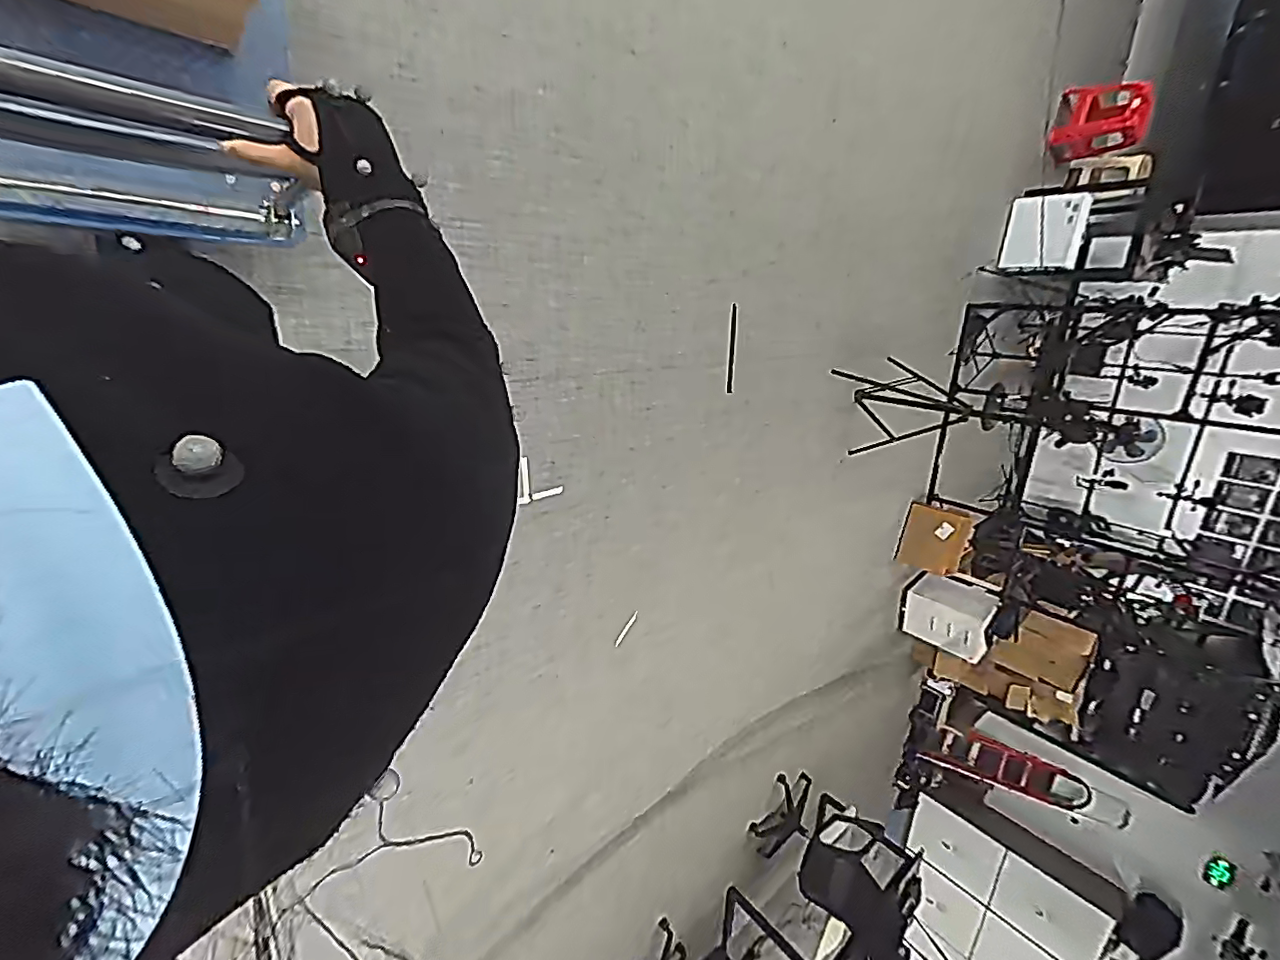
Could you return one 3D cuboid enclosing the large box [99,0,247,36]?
[{"bbox_3d":[-0.757,-0.840,0.670,0.408,0.320,0.320,-10,112,-39],"label":"large box"}]
